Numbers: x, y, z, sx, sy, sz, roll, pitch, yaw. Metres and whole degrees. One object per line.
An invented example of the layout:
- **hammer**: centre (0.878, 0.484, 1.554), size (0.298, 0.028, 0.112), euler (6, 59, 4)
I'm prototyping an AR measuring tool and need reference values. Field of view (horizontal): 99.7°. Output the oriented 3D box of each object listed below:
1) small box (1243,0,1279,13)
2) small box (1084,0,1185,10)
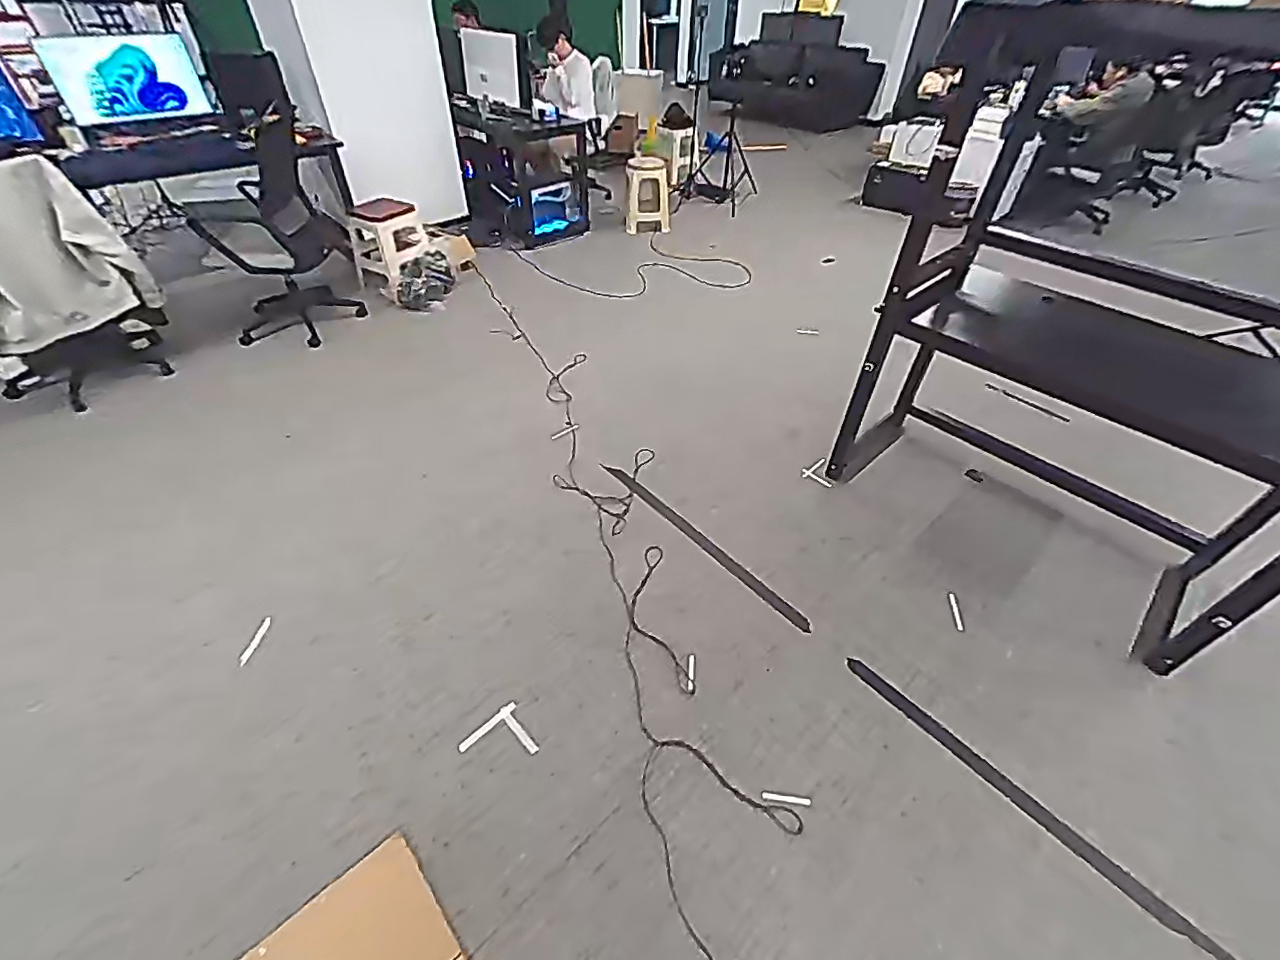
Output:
- **small box**: centre (1.235, -0.933, 0.952), size (0.179, 0.176, 0.168), euler (-29, 51, -31)
- **small box**: centre (1.048, -1.071, 1.095), size (0.179, 0.176, 0.168), euler (-31, 53, -32)
